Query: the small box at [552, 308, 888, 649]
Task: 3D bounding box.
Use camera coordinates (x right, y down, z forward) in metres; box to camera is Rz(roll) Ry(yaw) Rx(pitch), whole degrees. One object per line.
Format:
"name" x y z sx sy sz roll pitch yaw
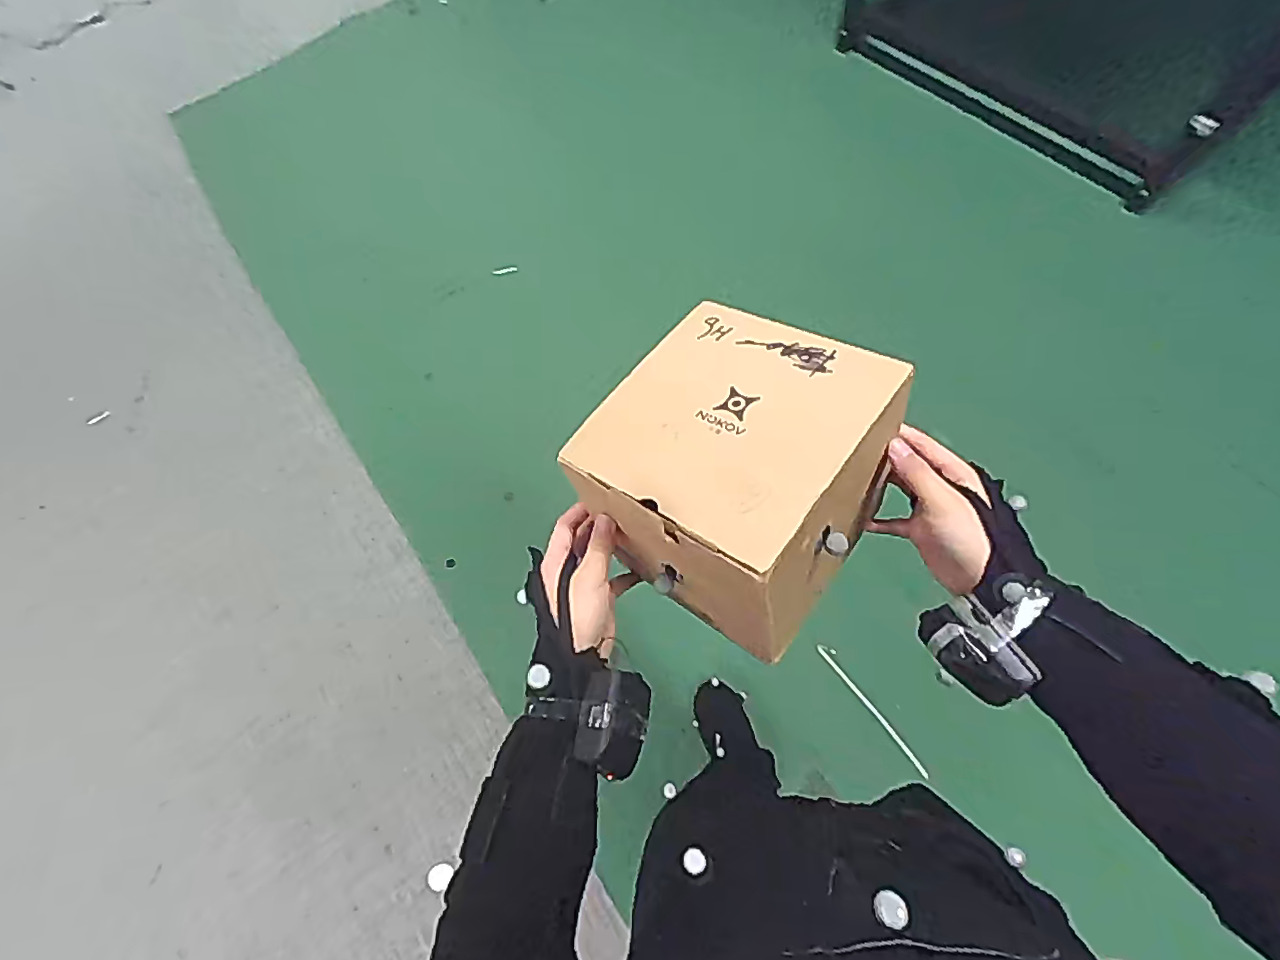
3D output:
"small box" 0.069 0.003 0.426 0.168 0.176 0.179 30 69 30
